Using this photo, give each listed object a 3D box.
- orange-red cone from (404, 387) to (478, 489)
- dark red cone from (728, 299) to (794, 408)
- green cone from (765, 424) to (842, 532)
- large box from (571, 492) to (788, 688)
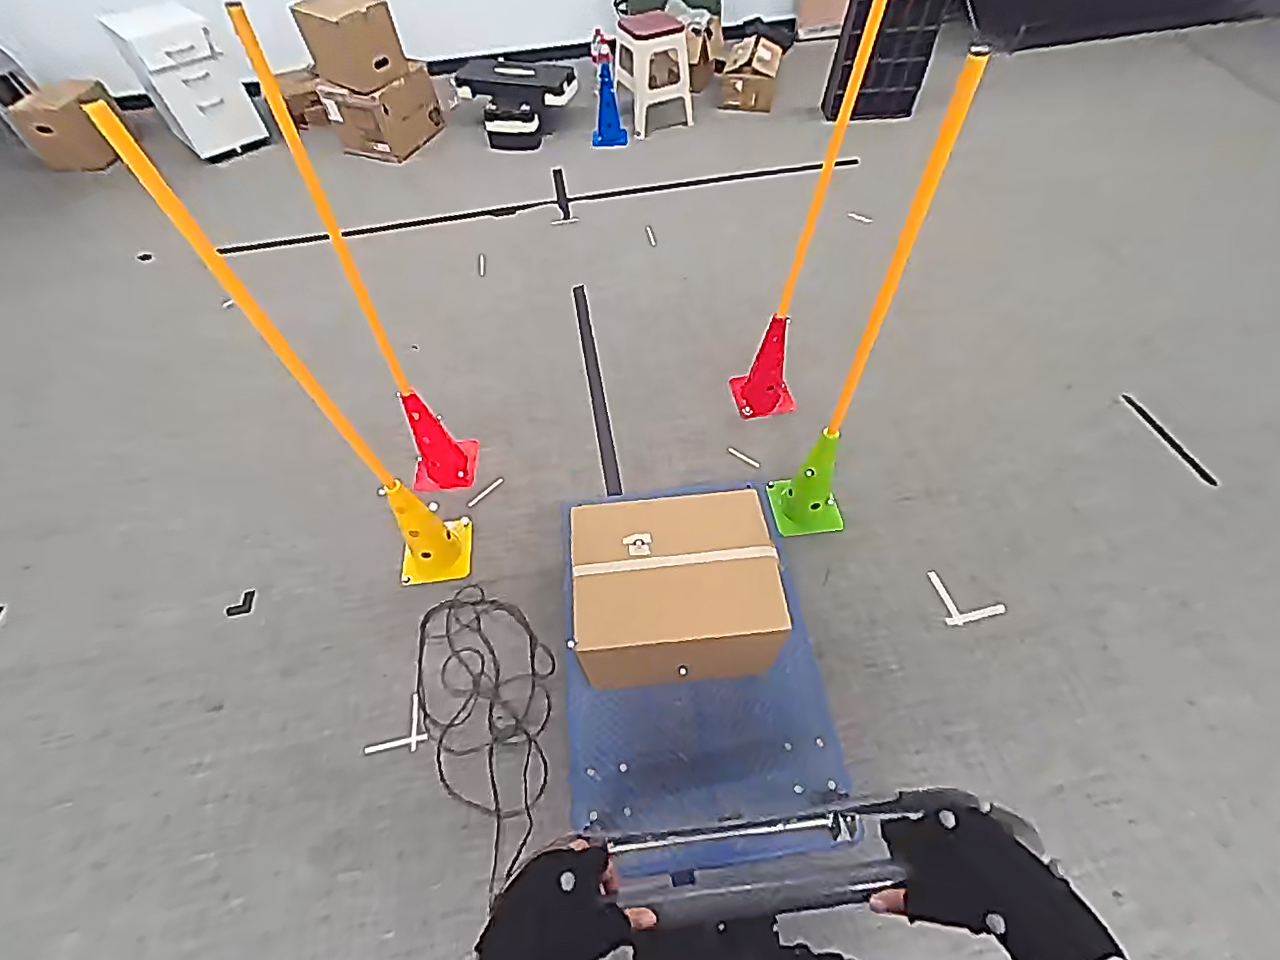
[{"bbox_3d":[-0.658,-0.153,1.693,0.198,0.360,0.199,-3,54,-1],"label":"orange-red cone"},{"bbox_3d":[0.435,-0.430,1.813,0.201,0.394,0.202,-9,56,-6],"label":"dark red cone"},{"bbox_3d":[0.505,-0.027,1.553,0.202,0.368,0.200,-6,55,-3],"label":"green cone"},{"bbox_3d":[0.072,0.254,1.203,0.408,0.320,0.320,-6,56,-1],"label":"large box"}]
